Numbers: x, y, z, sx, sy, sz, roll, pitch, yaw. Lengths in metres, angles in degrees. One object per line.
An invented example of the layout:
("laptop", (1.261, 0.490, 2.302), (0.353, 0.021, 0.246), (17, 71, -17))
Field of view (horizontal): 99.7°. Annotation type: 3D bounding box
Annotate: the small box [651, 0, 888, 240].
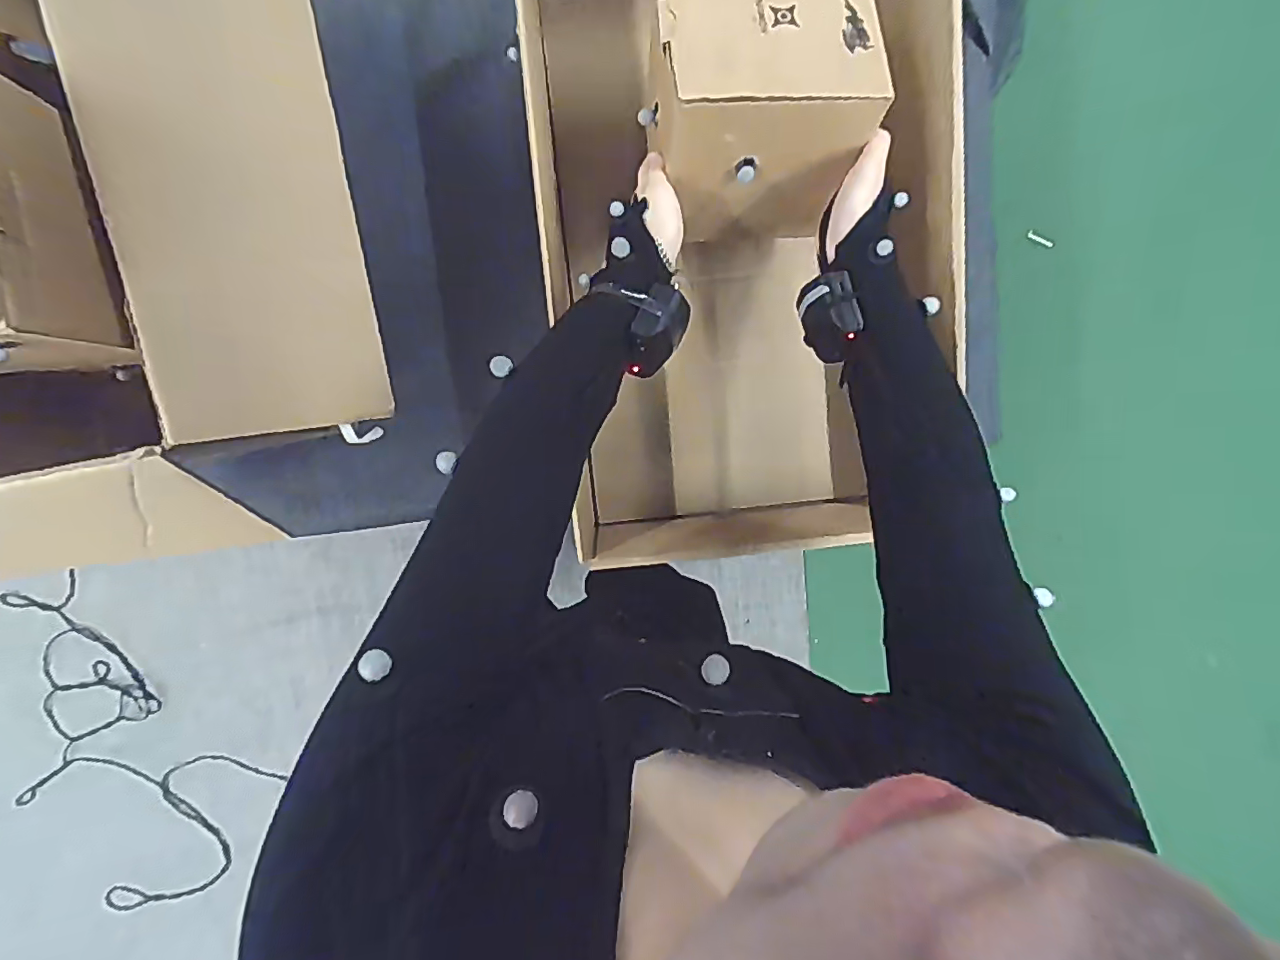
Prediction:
("small box", (0.102, -0.351, 0.515), (0.179, 0.176, 0.168), (-4, 78, -2))
